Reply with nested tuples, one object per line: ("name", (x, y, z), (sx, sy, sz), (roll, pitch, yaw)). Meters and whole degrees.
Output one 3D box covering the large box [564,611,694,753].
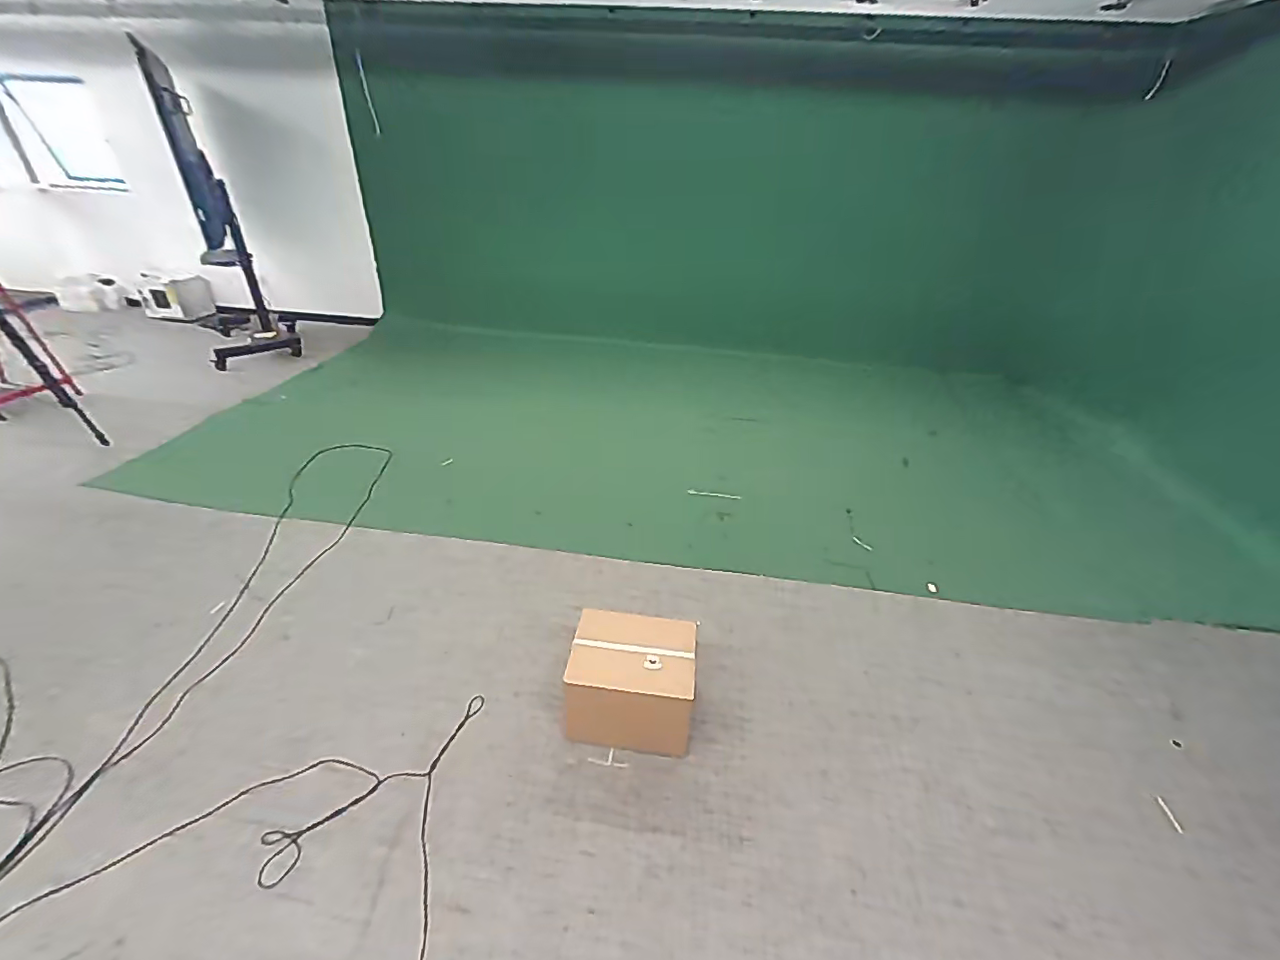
("large box", (-0.032, 0.685, 1.846), (0.408, 0.320, 0.320), (6, 32, 4))
